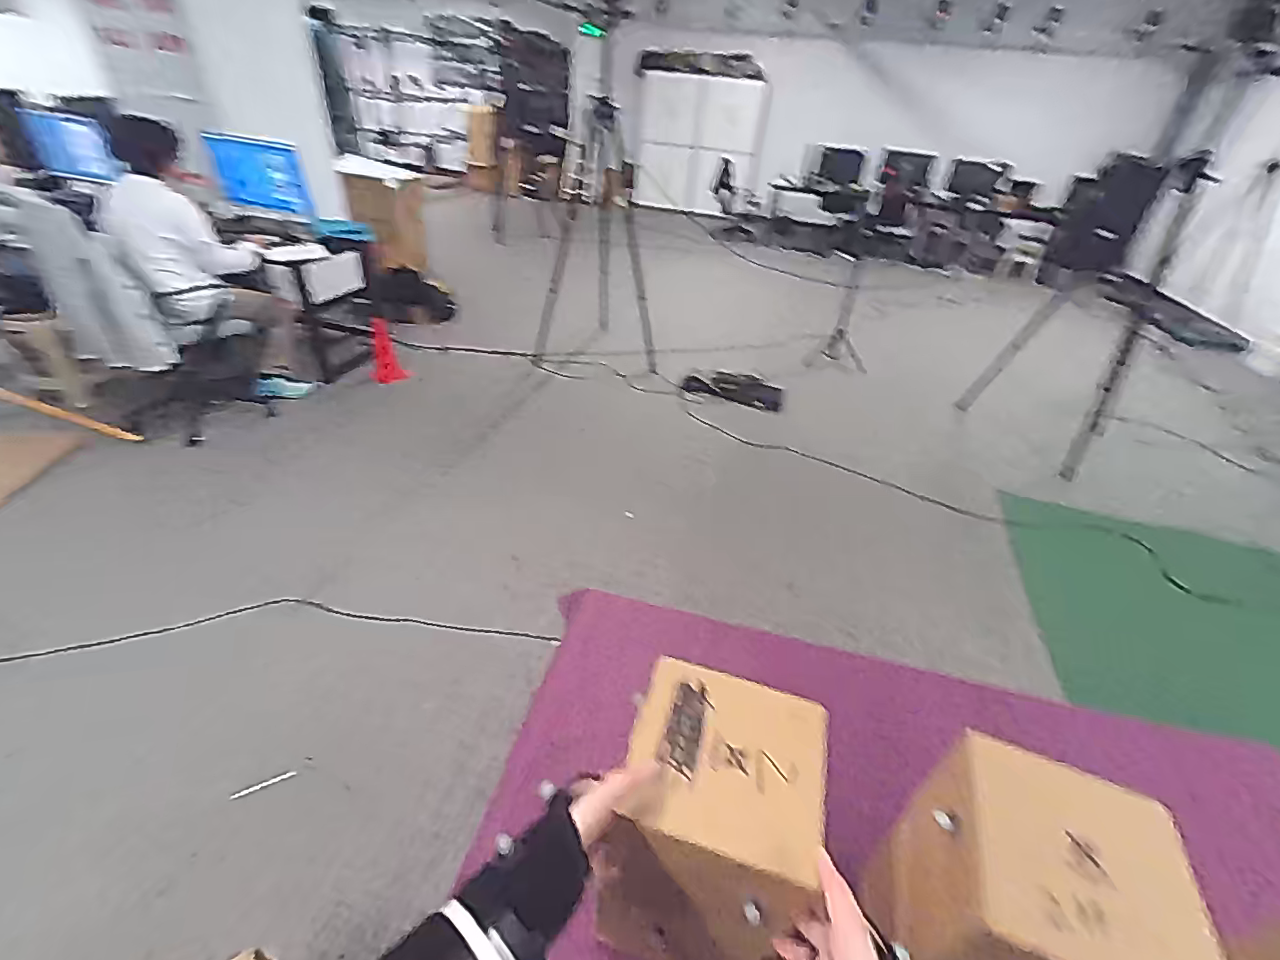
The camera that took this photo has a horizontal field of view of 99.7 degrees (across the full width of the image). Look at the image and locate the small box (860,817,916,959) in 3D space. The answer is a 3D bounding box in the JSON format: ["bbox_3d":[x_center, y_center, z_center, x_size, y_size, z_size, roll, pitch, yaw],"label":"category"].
[{"bbox_3d":[0.345,0.518,0.581,0.168,0.176,0.179,17,38,16],"label":"small box"}]

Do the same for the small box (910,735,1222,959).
[{"bbox_3d":[0.360,0.382,0.490,0.168,0.176,0.179,17,38,17],"label":"small box"}]

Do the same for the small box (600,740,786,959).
[{"bbox_3d":[0.061,0.450,0.638,0.179,0.176,0.168,13,37,13],"label":"small box"}]
